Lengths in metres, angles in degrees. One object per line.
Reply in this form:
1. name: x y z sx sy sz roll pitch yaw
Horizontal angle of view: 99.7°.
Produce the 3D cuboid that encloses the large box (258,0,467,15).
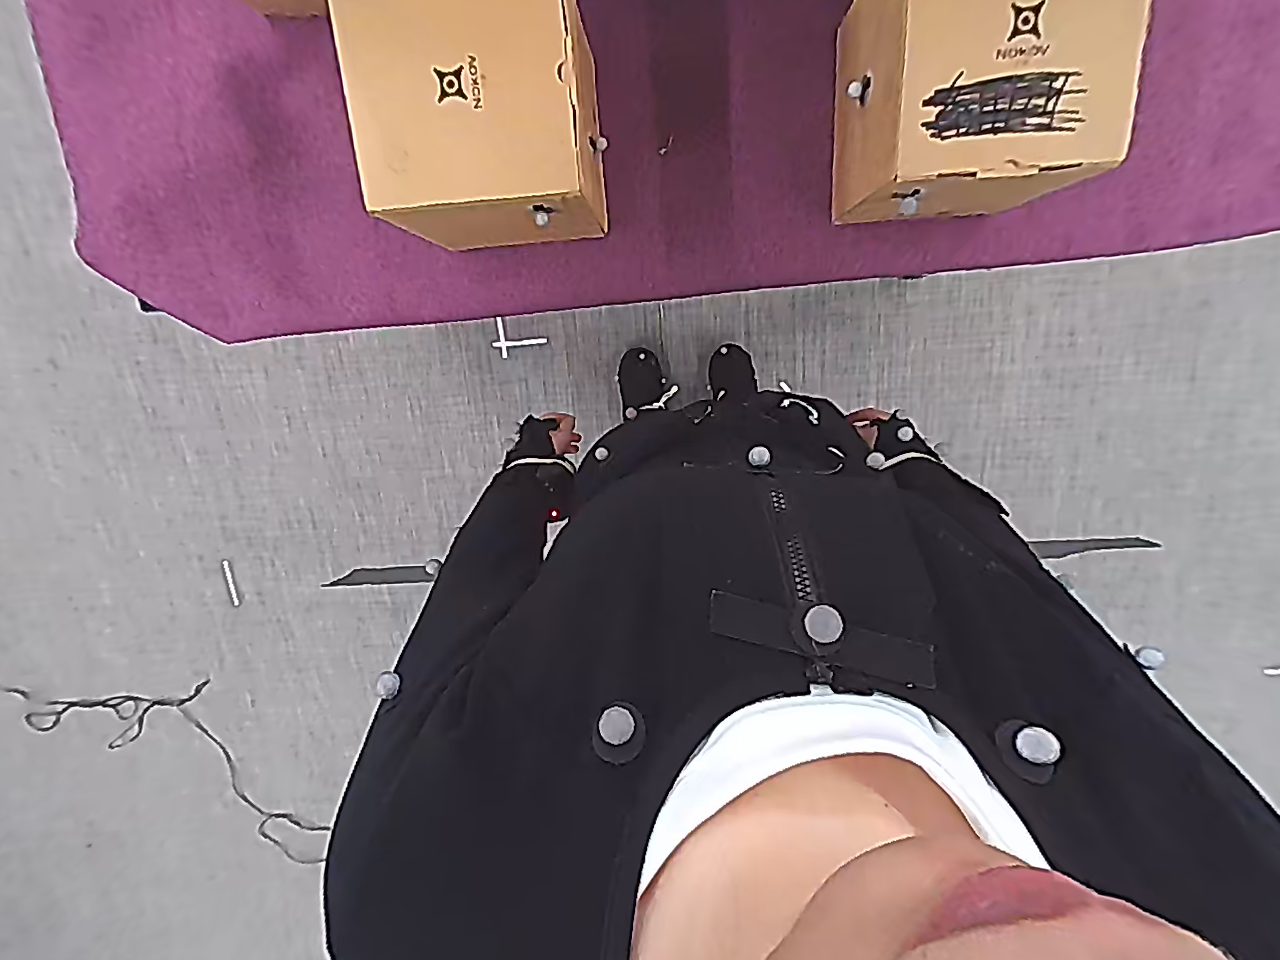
1. large box: -0.237 -0.618 0.340 0.320 0.320 0.408 -2 108 4
